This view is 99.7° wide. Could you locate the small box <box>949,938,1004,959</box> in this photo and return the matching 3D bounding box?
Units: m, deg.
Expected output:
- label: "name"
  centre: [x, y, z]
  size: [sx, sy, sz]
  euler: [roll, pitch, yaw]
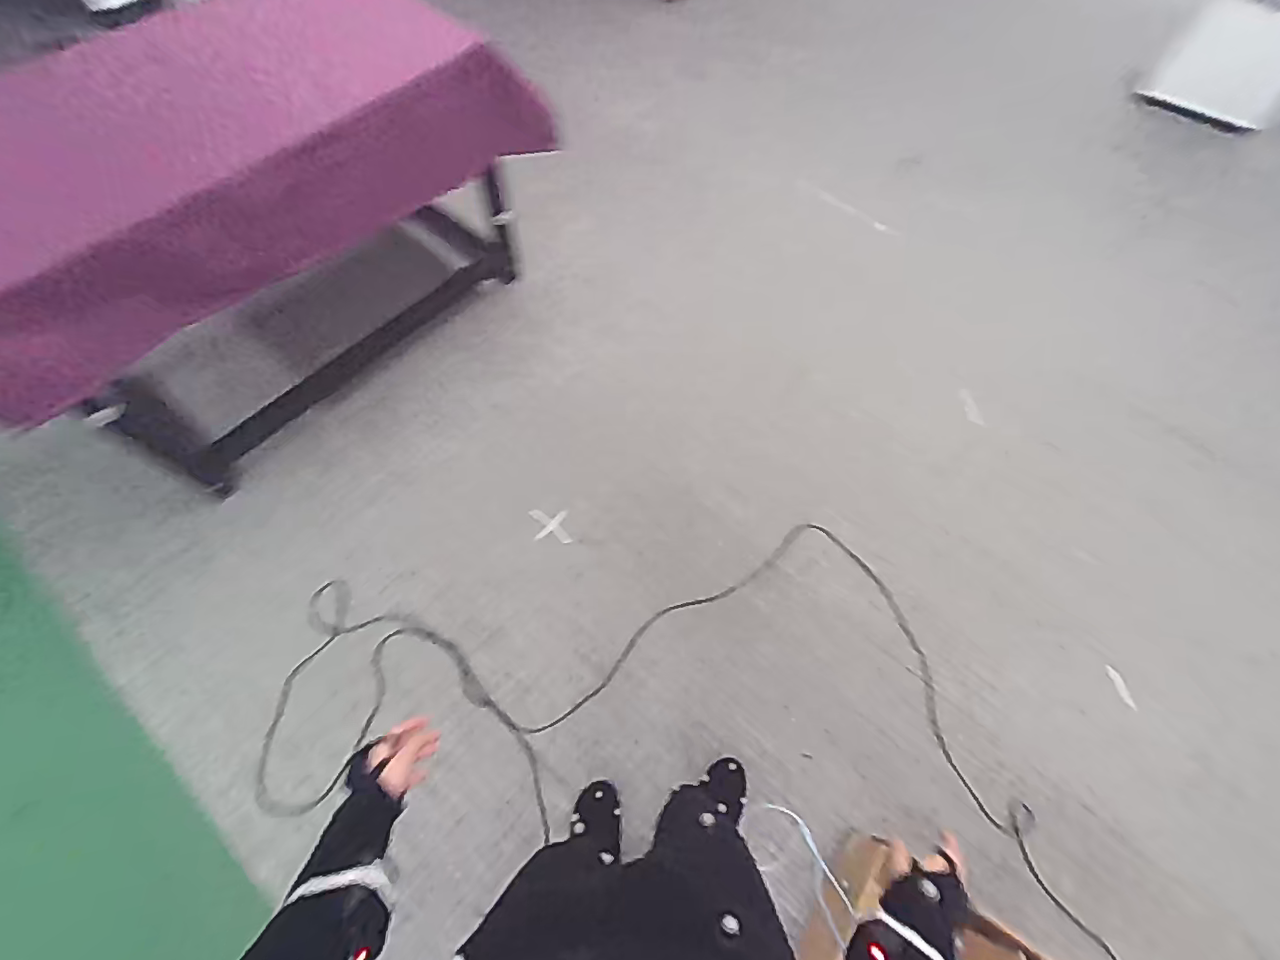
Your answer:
- label: "small box"
  centre: [0.599, 0.900, 0.872]
  size: [0.168, 0.176, 0.179]
  euler: [35, 68, 16]
